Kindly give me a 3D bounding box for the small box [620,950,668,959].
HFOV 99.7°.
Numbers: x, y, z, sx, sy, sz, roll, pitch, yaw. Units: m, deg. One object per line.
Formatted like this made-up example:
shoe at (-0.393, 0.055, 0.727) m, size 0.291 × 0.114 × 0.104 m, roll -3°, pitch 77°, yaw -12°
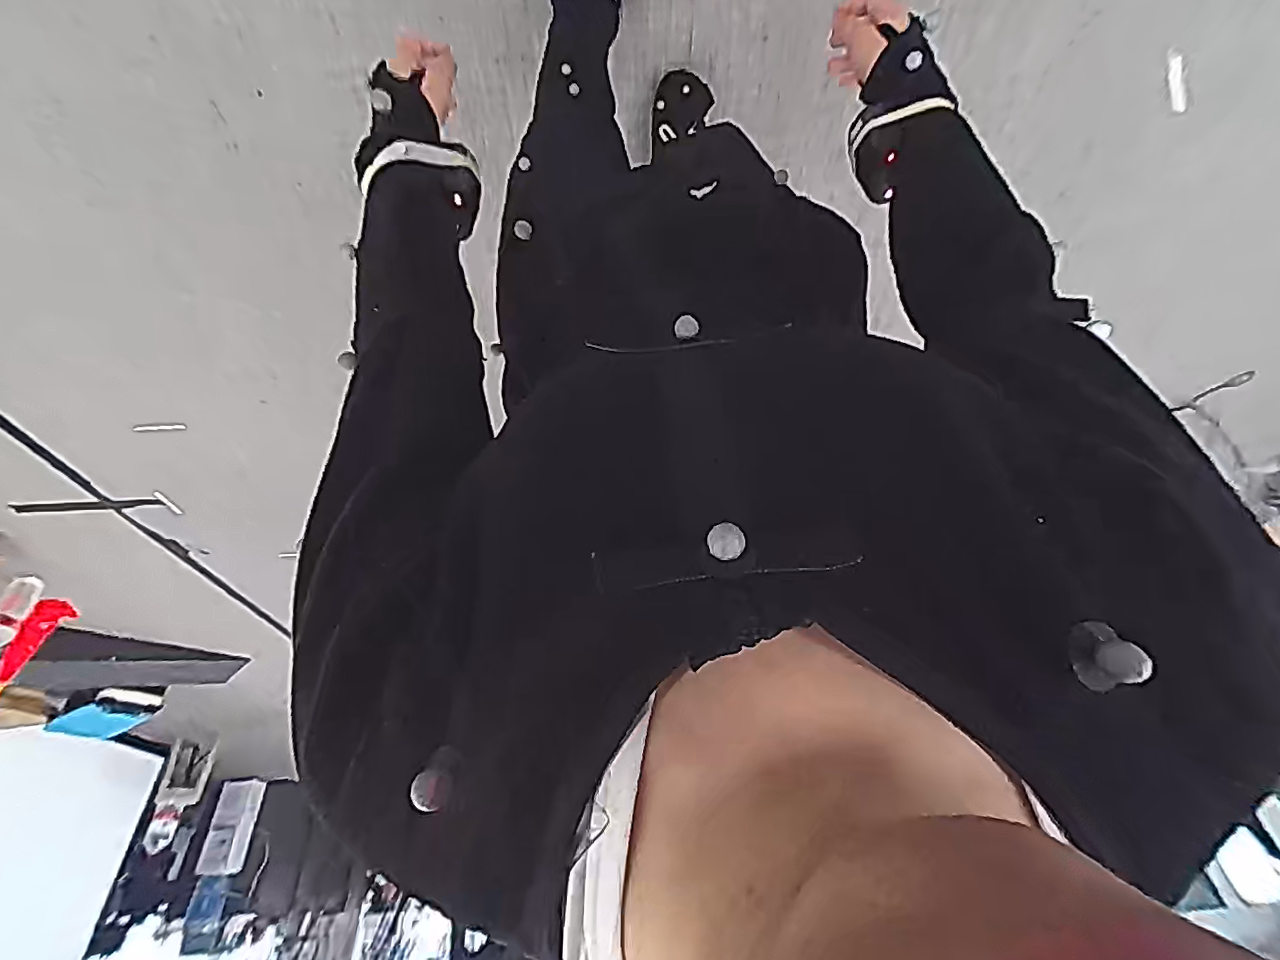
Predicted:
small box at (0.018, 1.709, 1.816) m, size 0.168 × 0.176 × 0.179 m, roll -3°, pitch 144°, yaw -4°
